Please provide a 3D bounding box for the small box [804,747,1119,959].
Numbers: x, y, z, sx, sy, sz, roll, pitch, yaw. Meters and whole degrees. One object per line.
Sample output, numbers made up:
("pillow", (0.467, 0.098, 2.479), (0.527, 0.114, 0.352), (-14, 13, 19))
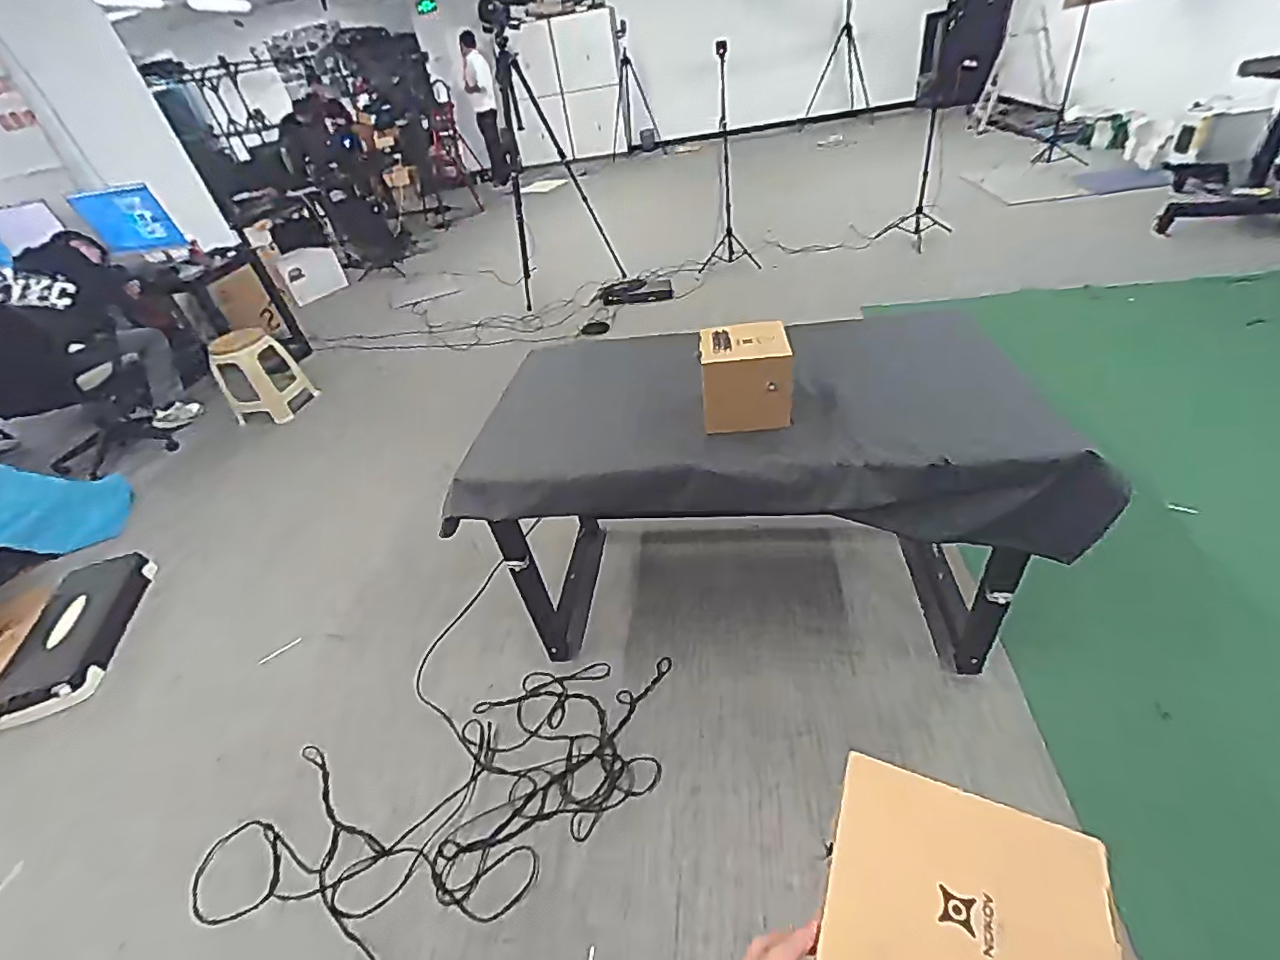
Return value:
("small box", (0.229, 0.350, 0.418), (0.179, 0.176, 0.168), (12, 45, 22))
